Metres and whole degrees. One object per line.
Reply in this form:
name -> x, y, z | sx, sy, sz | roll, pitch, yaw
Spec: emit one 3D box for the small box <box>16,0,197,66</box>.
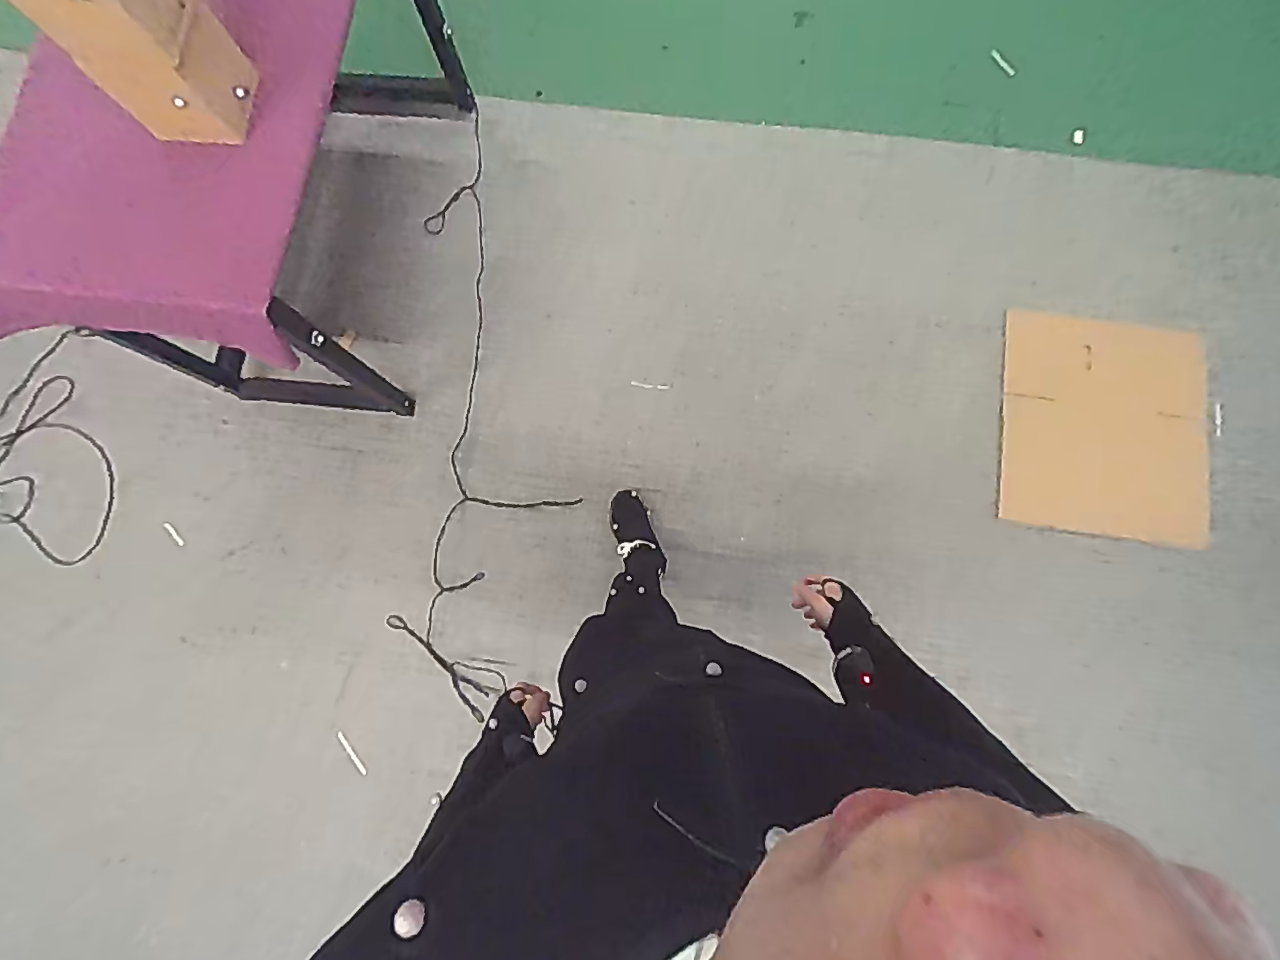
small box -> -0.851, -0.792, 0.846 | 0.179, 0.176, 0.168 | 4, 79, 2
